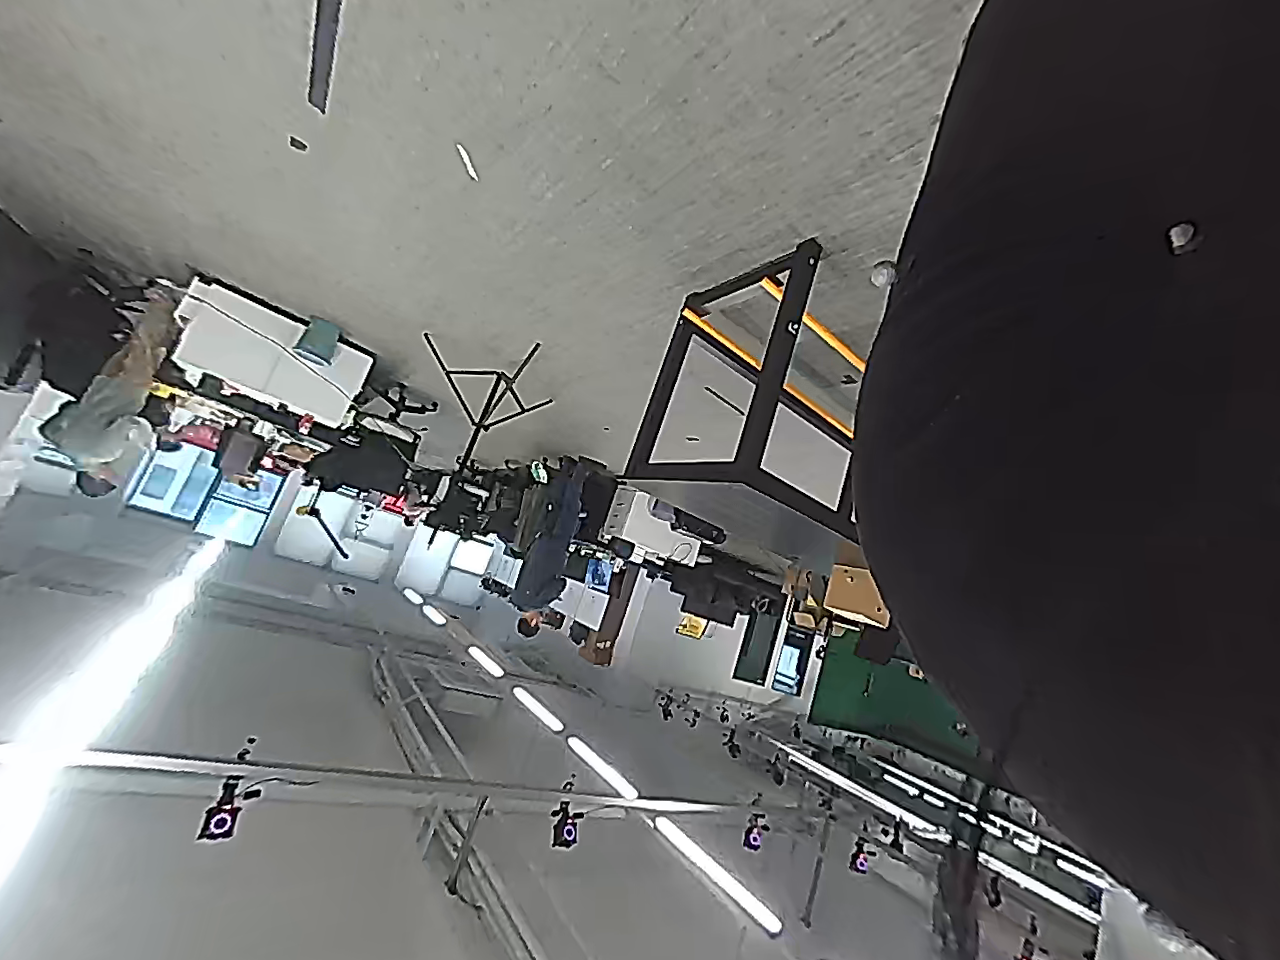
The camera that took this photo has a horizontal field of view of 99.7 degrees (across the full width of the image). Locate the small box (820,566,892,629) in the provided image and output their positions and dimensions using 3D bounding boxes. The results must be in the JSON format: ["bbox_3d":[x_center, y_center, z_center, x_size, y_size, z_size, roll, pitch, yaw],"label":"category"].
[{"bbox_3d":[0.809,0.434,2.010,0.179,0.176,0.168,27,166,-31],"label":"small box"}]
